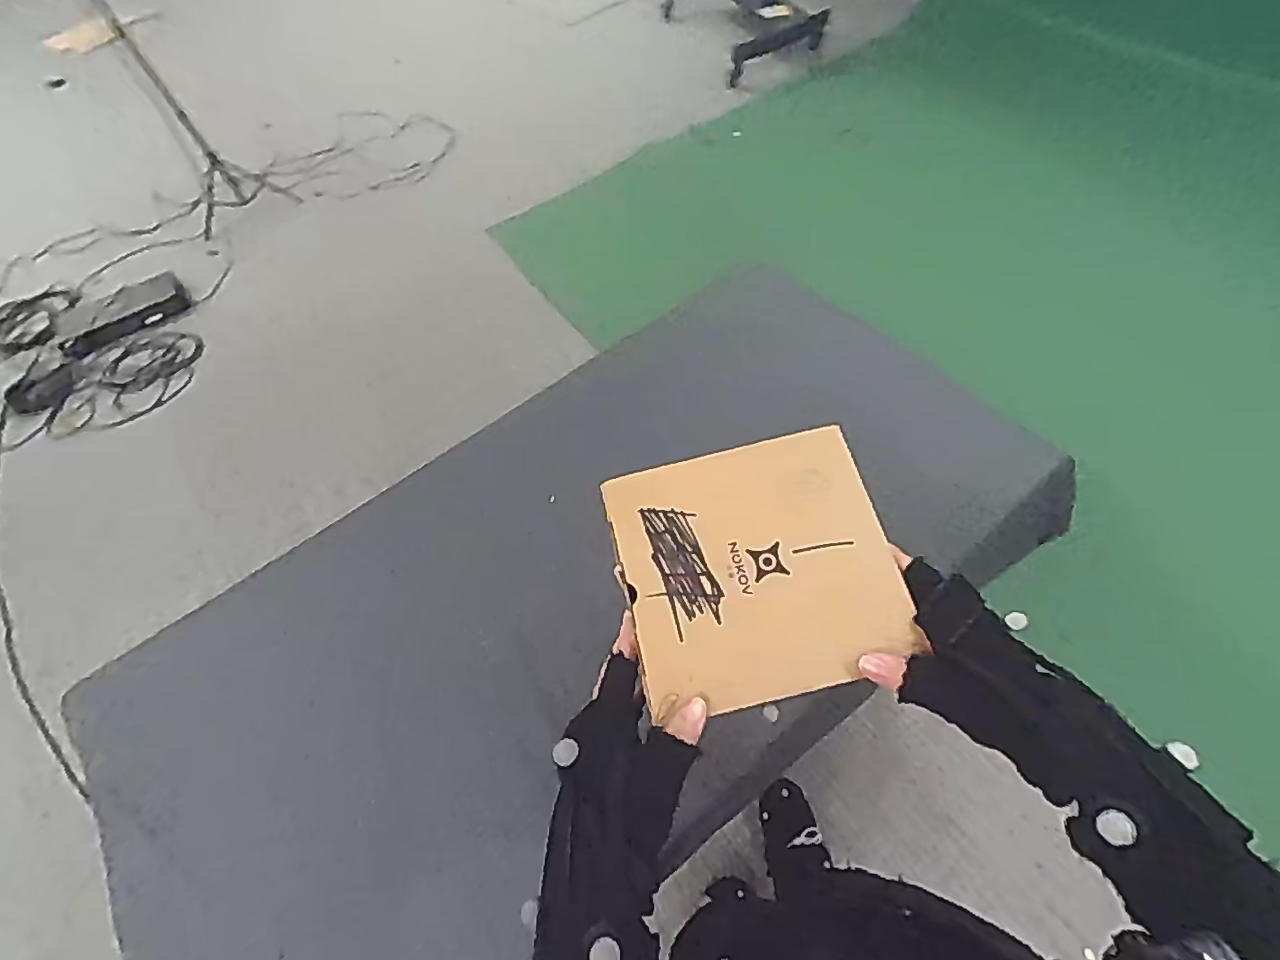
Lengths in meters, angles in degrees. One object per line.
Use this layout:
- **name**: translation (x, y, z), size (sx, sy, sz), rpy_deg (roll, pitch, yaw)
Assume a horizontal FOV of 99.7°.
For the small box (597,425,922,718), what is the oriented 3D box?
- **small box**: translation (0.078, 0.082, 0.425), size (0.179, 0.176, 0.168), rpy_deg (-13, 68, 1)
